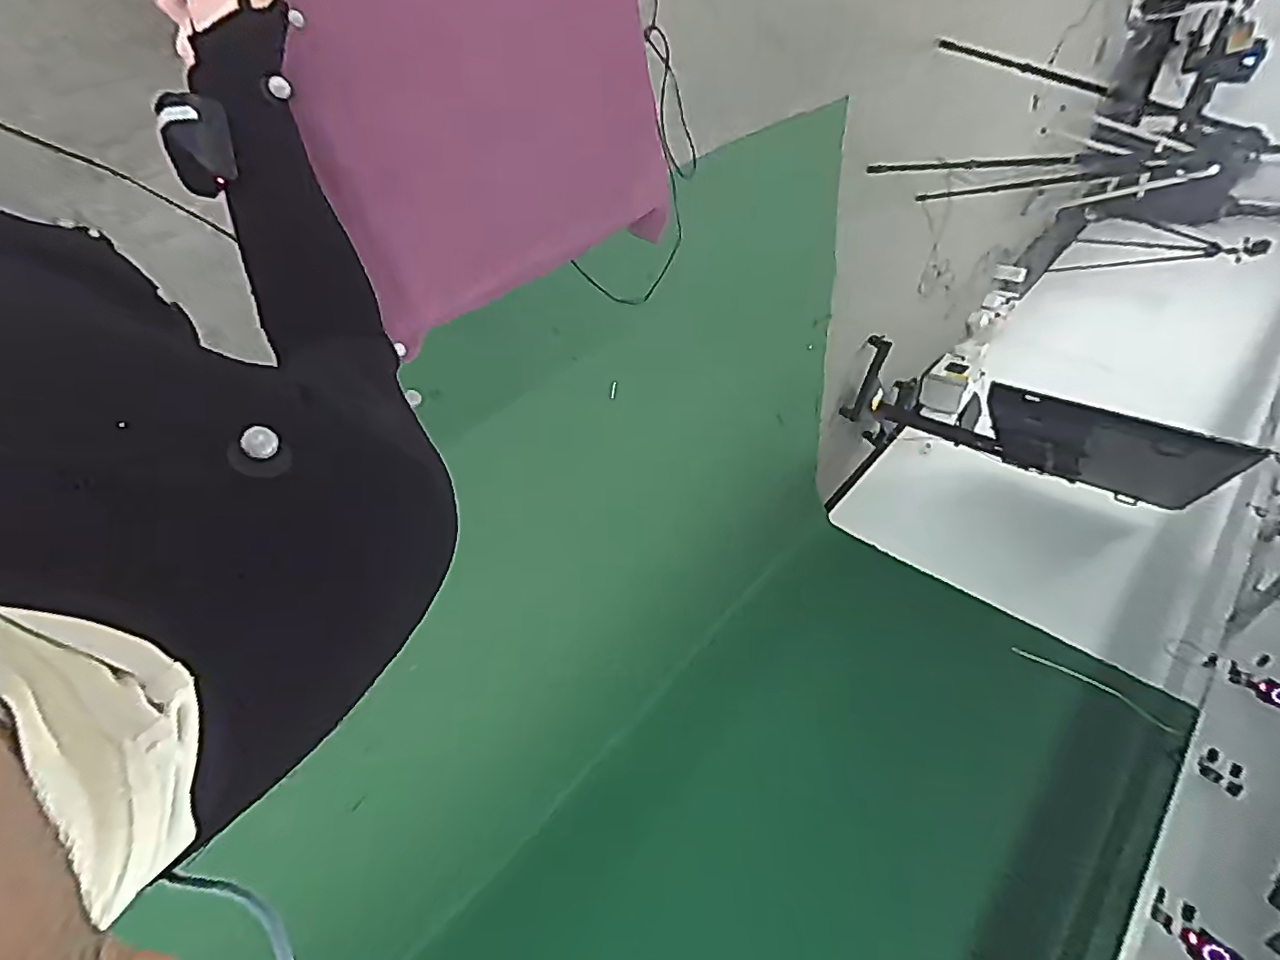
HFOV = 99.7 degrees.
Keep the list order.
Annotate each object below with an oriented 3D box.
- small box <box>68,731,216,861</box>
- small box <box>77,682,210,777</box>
[{"bbox_3d":[-1.098,0.695,1.198,0.168,0.176,0.179,-44,138,-19],"label":"small box"},{"bbox_3d":[-1.199,0.621,1.305,0.168,0.176,0.179,-40,138,-23],"label":"small box"}]
